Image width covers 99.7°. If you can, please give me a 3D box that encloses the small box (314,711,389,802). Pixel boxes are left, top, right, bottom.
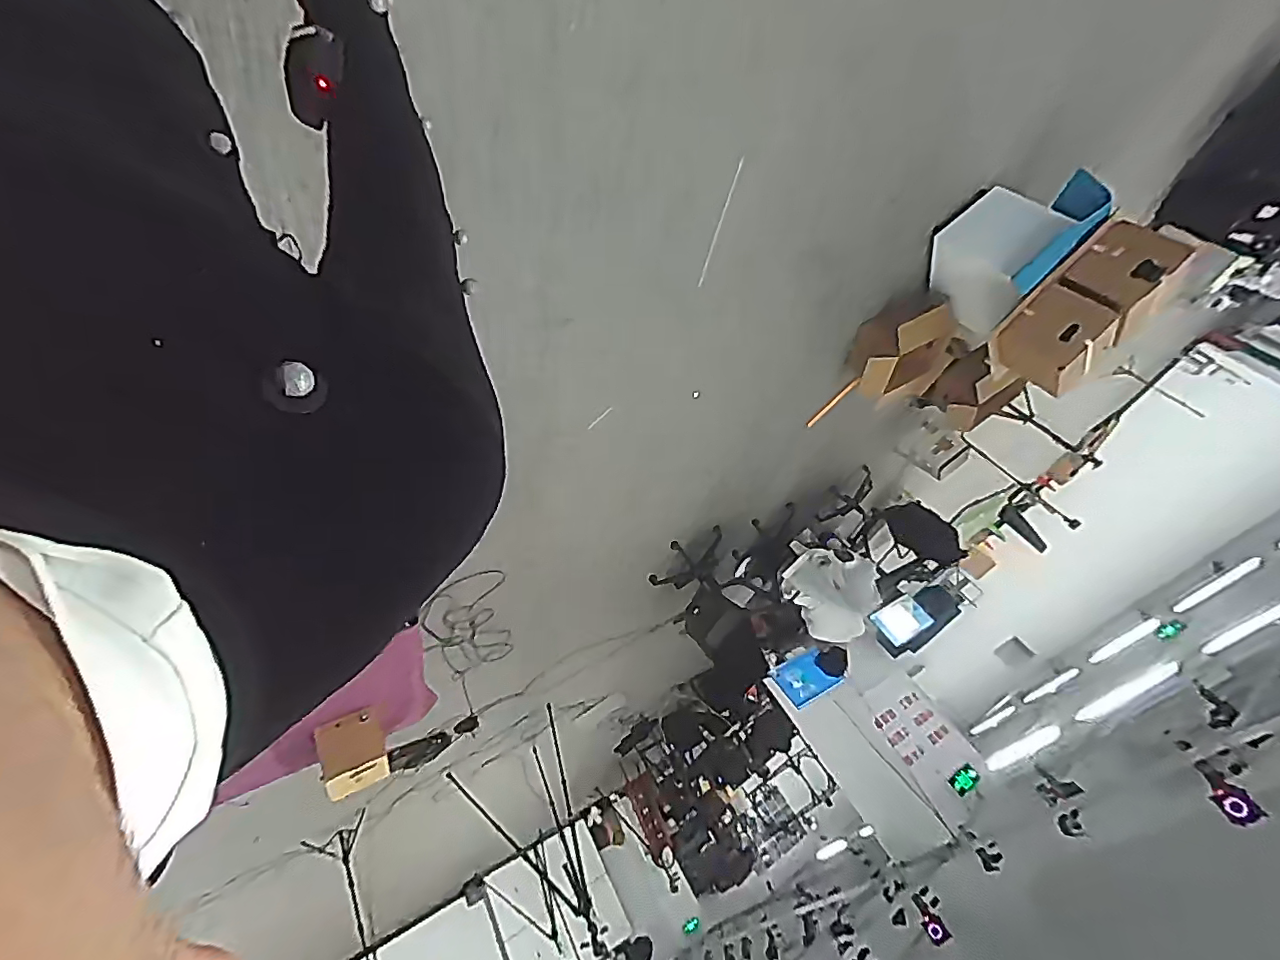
[{"bbox_3d":[-0.877,0.833,1.648,0.168,0.176,0.179,-14,141,-32],"label":"small box"}]
